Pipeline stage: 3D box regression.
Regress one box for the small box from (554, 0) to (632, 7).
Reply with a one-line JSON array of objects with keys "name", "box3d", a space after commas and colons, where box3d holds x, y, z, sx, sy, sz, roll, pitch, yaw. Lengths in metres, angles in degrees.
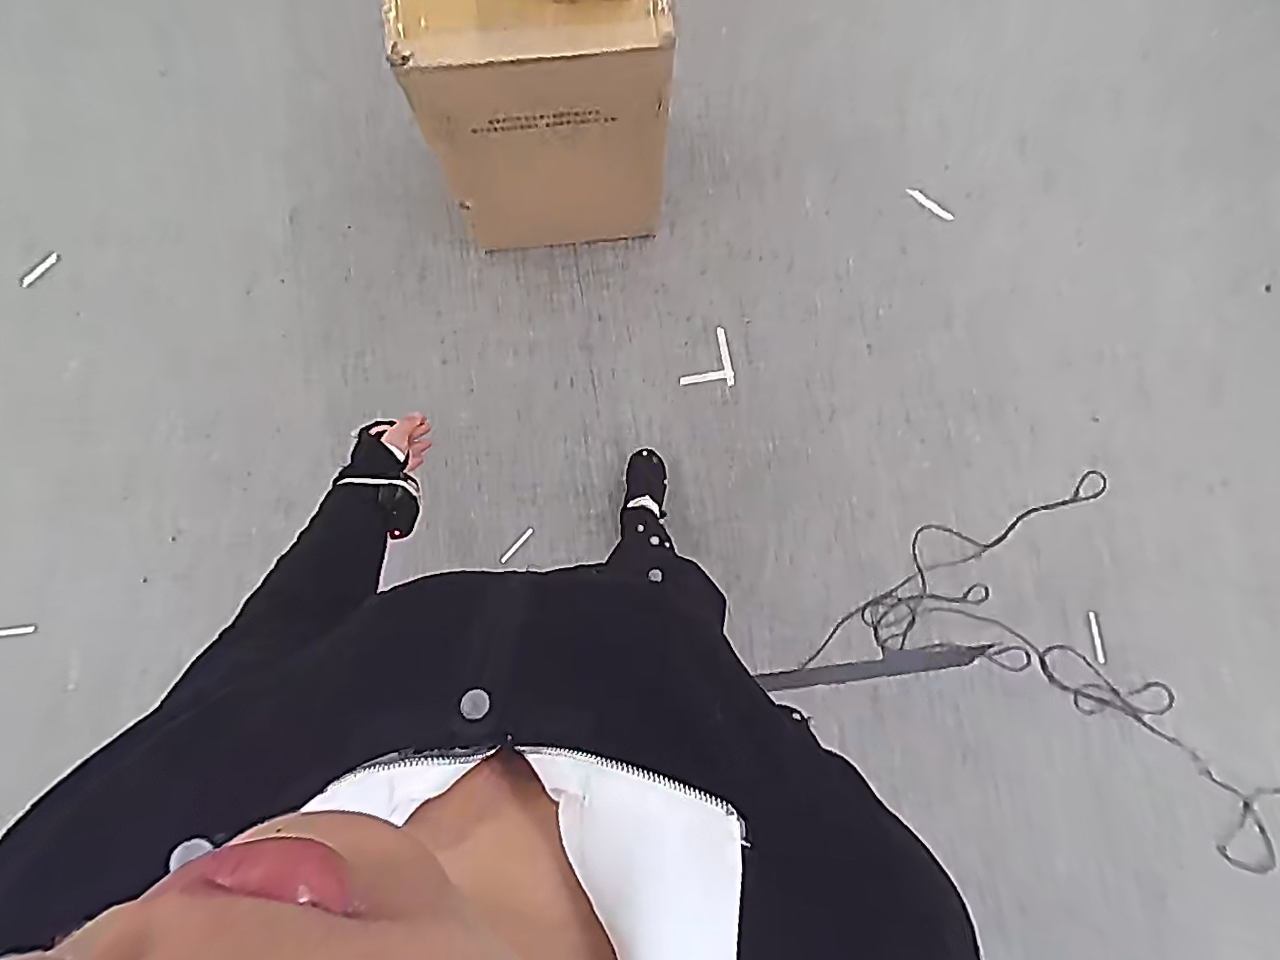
[{"name": "small box", "box3d": [-0.091, -0.968, 0.922, 0.168, 0.176, 0.179, -6, 86, 0]}]
